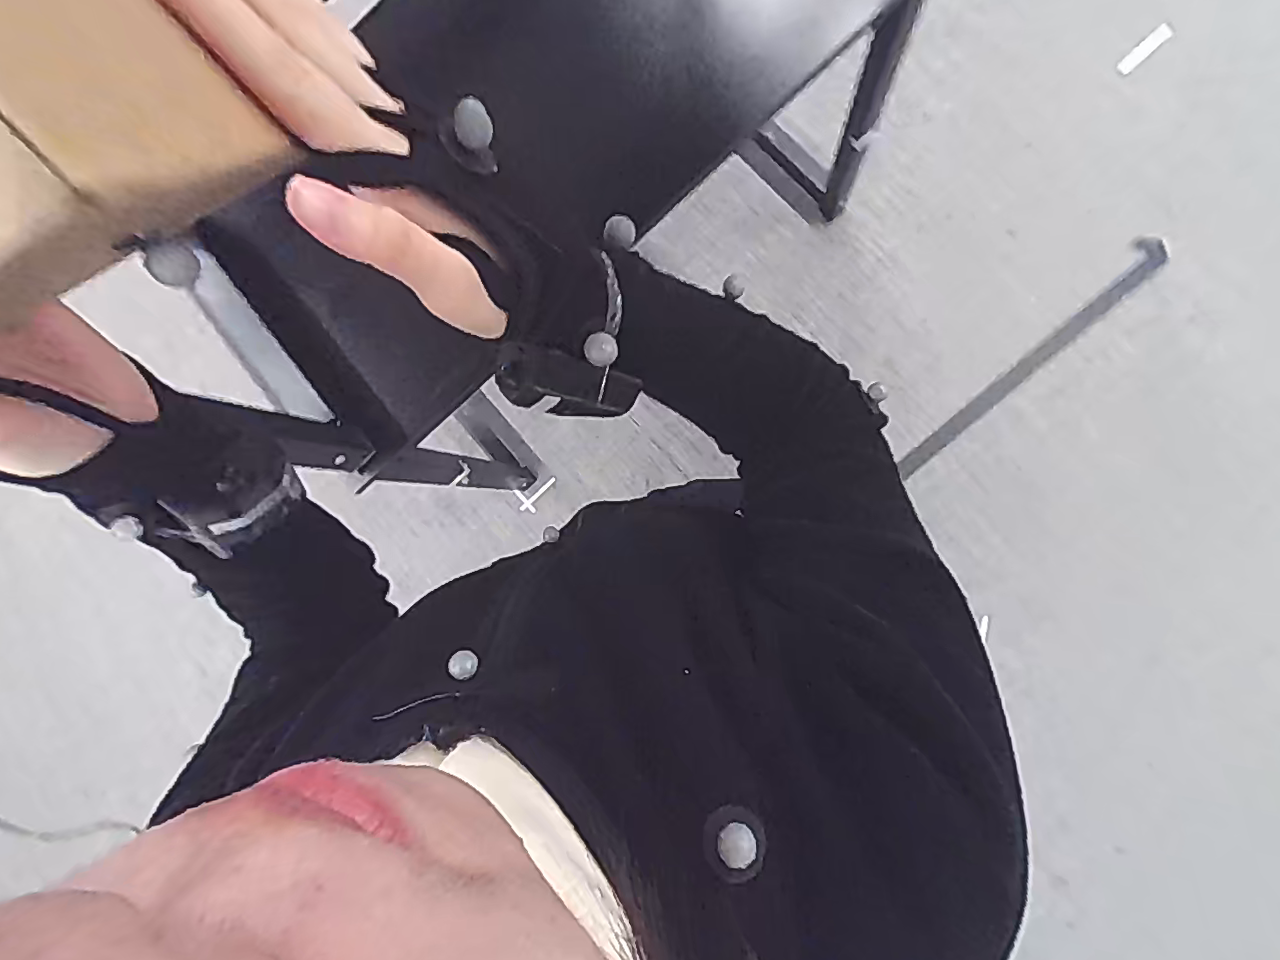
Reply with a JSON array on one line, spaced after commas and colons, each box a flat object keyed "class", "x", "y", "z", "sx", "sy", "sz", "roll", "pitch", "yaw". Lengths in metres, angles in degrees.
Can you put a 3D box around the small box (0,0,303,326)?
[{"class": "small box", "x": -0.204, "y": -0.108, "z": 0.105, "sx": 0.179, "sy": 0.176, "sz": 0.168, "roll": -24, "pitch": 127, "yaw": 6}]
